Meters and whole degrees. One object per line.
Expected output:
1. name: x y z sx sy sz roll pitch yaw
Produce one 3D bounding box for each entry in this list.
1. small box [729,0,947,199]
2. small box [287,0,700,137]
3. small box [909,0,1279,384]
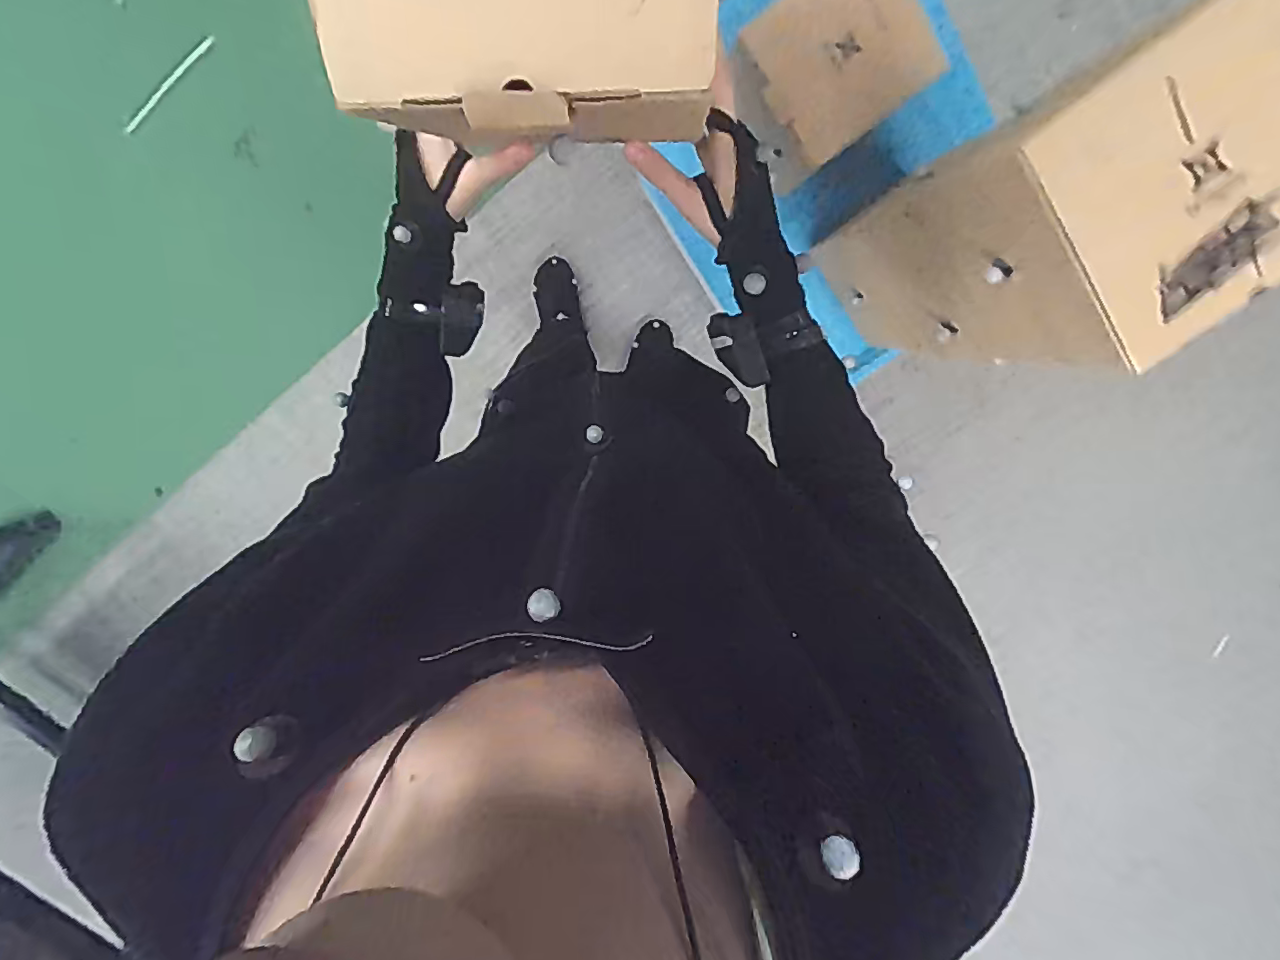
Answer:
1. small box: 0.224 -0.481 0.666 0.179 0.176 0.168 -33 105 9
2. small box: -0.052 -0.270 0.256 0.168 0.176 0.179 1 118 3
3. small box: 0.344 -0.197 0.404 0.168 0.176 0.179 -35 102 10
